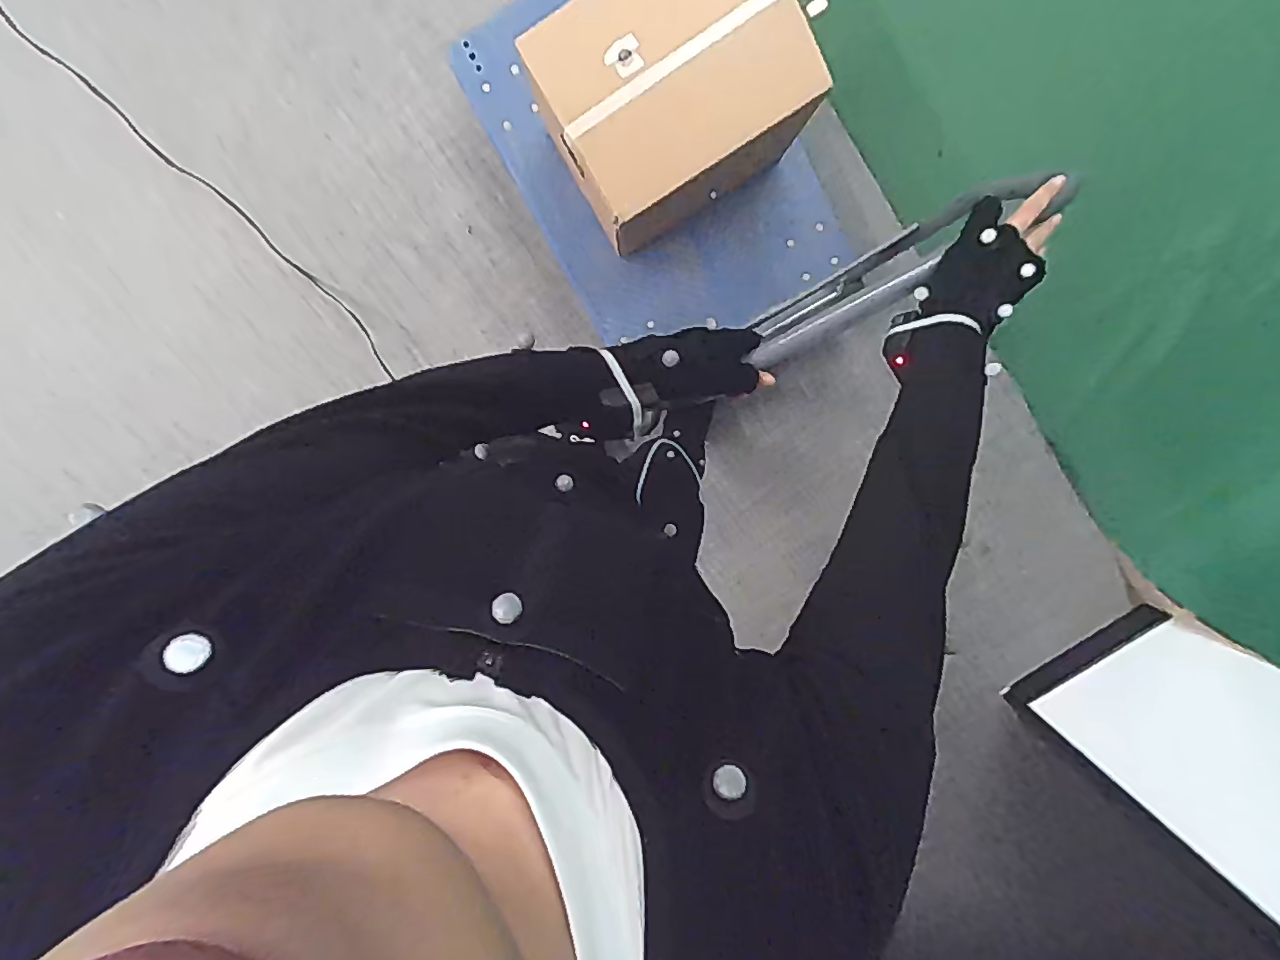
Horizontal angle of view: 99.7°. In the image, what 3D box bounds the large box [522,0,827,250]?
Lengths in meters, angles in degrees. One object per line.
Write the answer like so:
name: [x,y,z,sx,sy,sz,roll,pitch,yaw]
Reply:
large box: [0.056,-0.696,1.004,0.408,0.320,0.320,-31,101,7]
